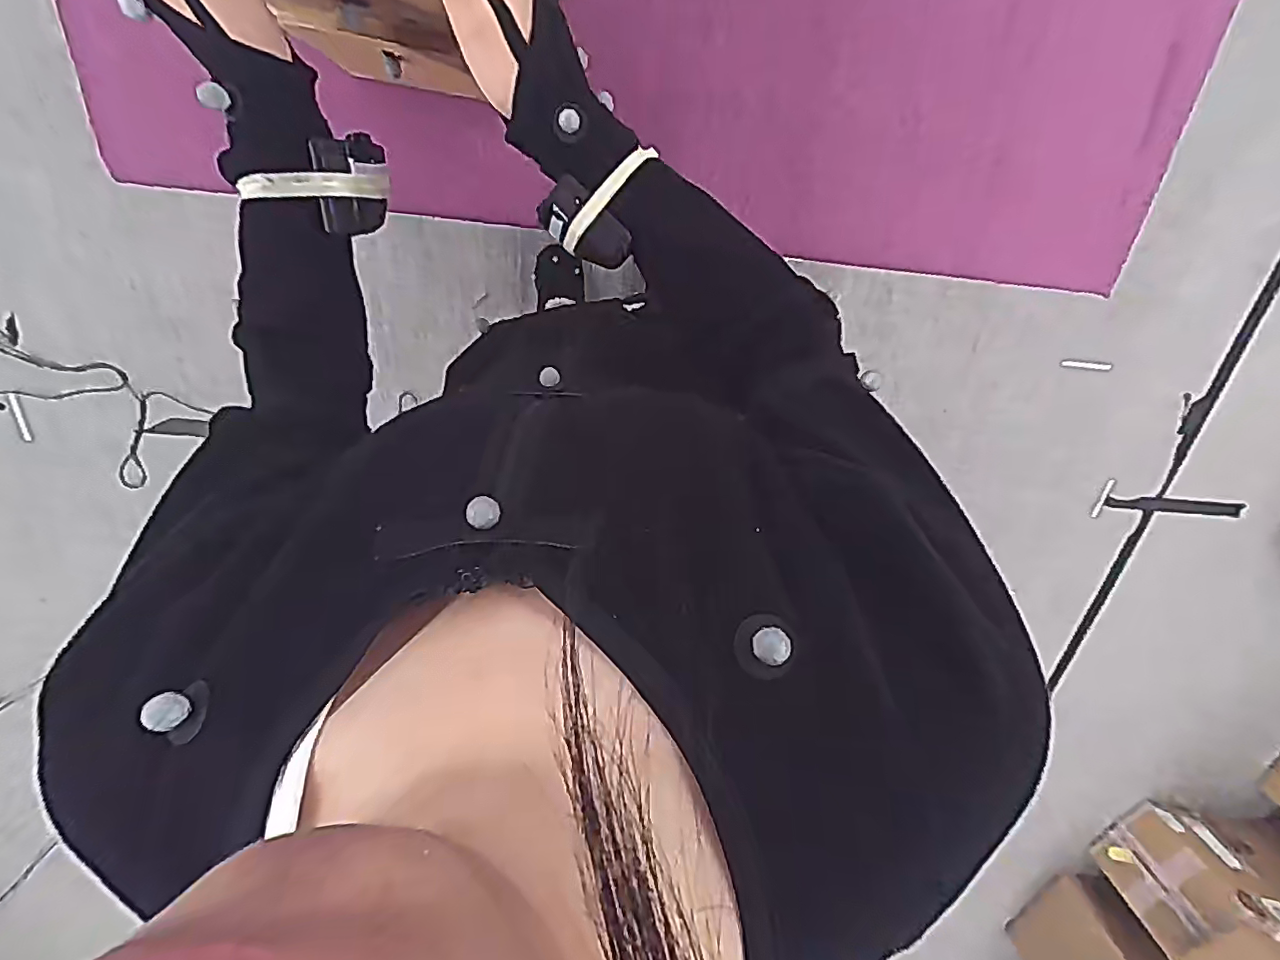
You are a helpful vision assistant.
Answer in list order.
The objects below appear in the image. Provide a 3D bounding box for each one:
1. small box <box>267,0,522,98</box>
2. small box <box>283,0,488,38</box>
[{"bbox_3d":[-0.195,-0.454,0.467,0.179,0.176,0.168,6,114,-8],"label":"small box"},{"bbox_3d":[-0.184,-0.399,0.312,0.168,0.176,0.179,4,115,-6],"label":"small box"}]
